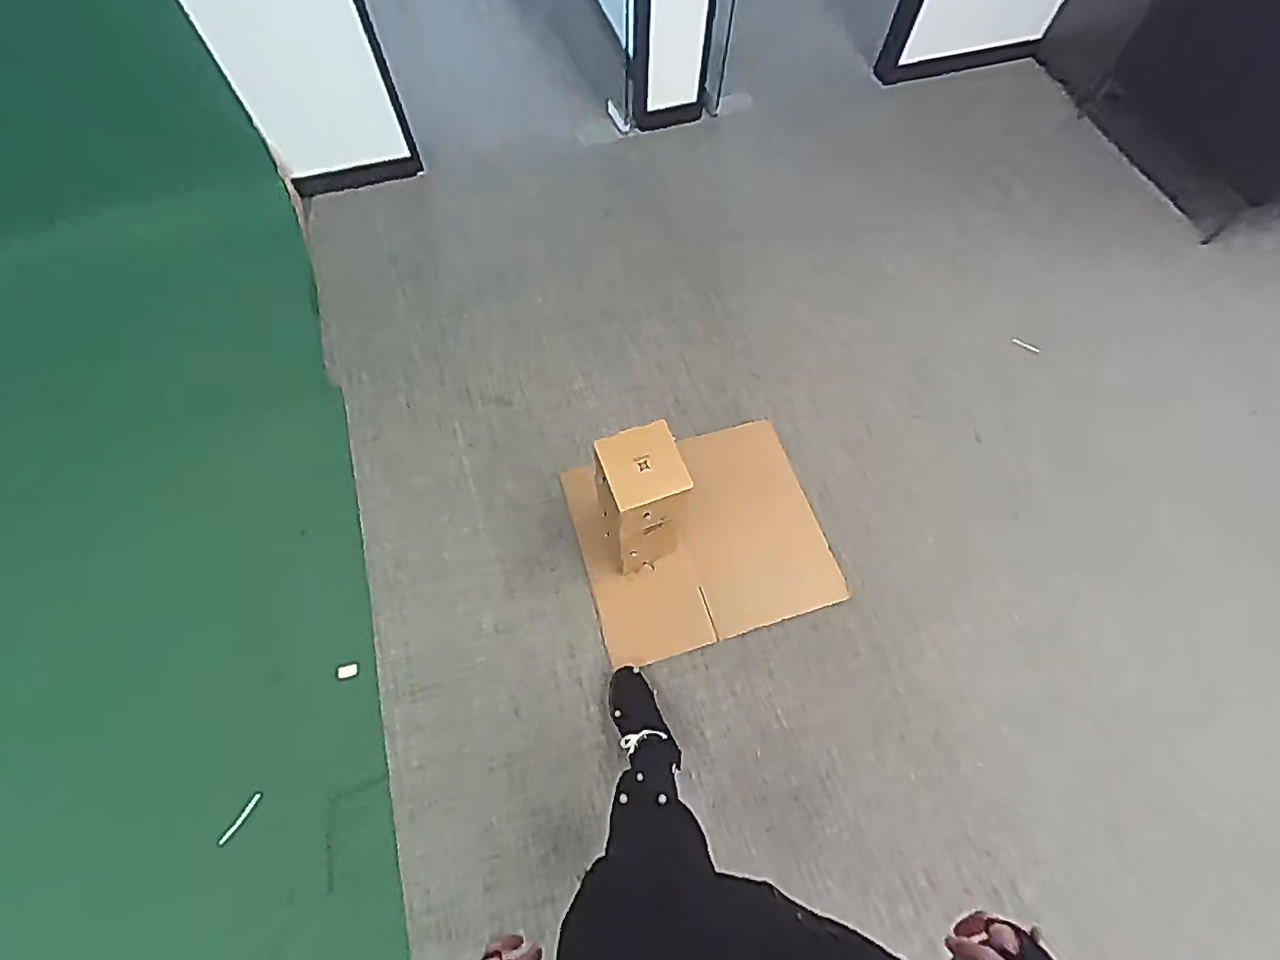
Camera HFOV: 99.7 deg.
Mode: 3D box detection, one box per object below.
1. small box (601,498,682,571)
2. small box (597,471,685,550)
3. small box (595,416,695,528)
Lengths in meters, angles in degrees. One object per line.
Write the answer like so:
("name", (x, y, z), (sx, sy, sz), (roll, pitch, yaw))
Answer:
("small box", (0.000, 0.126, 1.490), (0.168, 0.176, 0.179), (-22, 69, -10))
("small box", (0.002, 0.060, 1.341), (0.168, 0.176, 0.179), (-19, 67, -9))
("small box", (0.009, -0.008, 1.194), (0.168, 0.176, 0.179), (-19, 67, -9))
